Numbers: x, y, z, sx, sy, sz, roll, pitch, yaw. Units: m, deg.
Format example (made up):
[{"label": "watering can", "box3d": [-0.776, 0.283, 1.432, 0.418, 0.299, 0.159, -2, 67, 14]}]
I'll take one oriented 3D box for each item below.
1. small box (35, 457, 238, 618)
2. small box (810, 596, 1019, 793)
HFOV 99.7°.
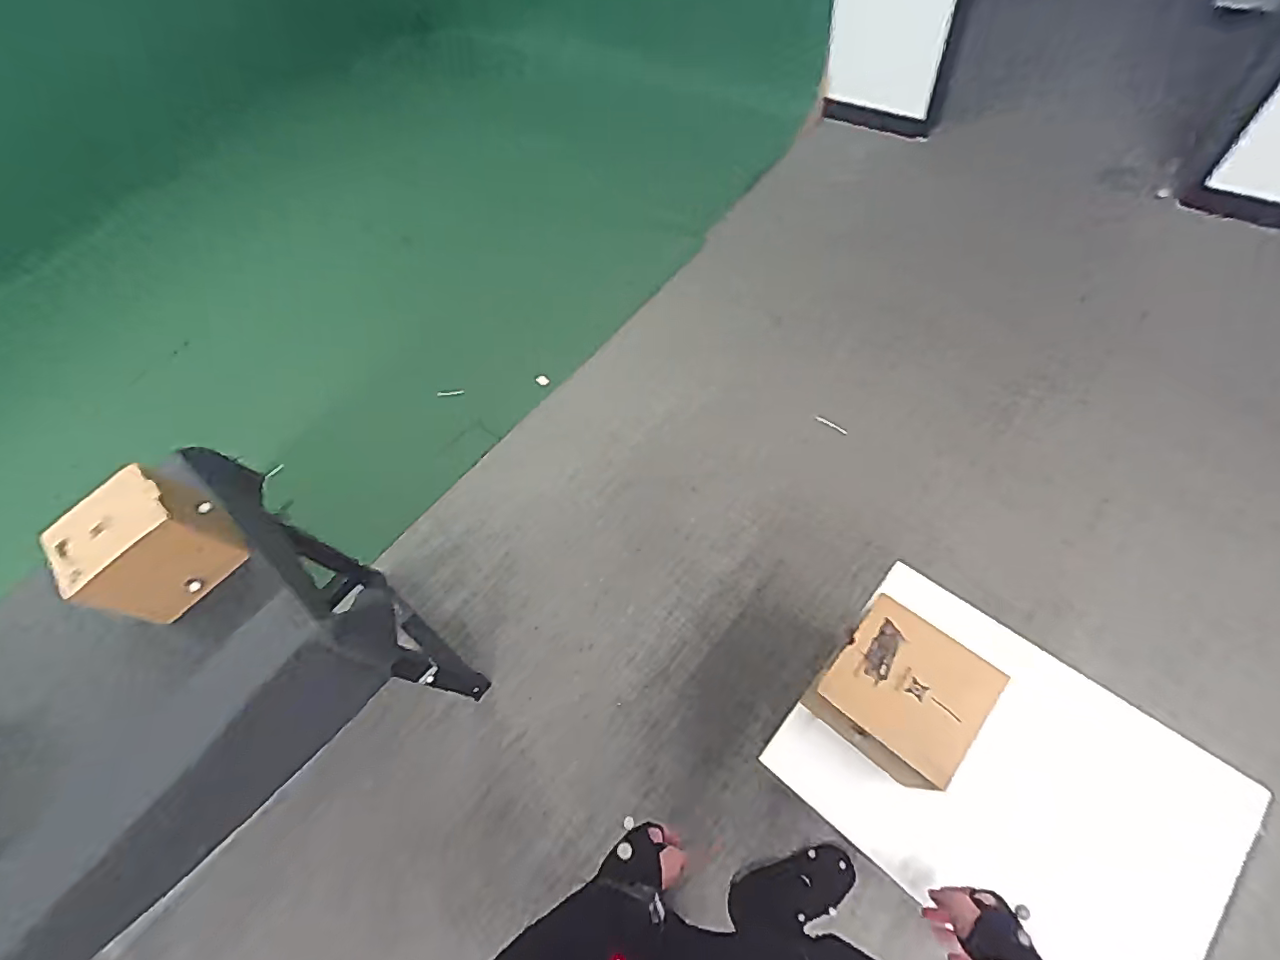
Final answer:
[{"label": "small box", "box3d": [-0.823, 0.101, 0.905, 0.168, 0.176, 0.179, 39, 75, 26]}, {"label": "small box", "box3d": [0.355, 0.293, 0.739, 0.179, 0.176, 0.168, 37, 74, 23]}]
